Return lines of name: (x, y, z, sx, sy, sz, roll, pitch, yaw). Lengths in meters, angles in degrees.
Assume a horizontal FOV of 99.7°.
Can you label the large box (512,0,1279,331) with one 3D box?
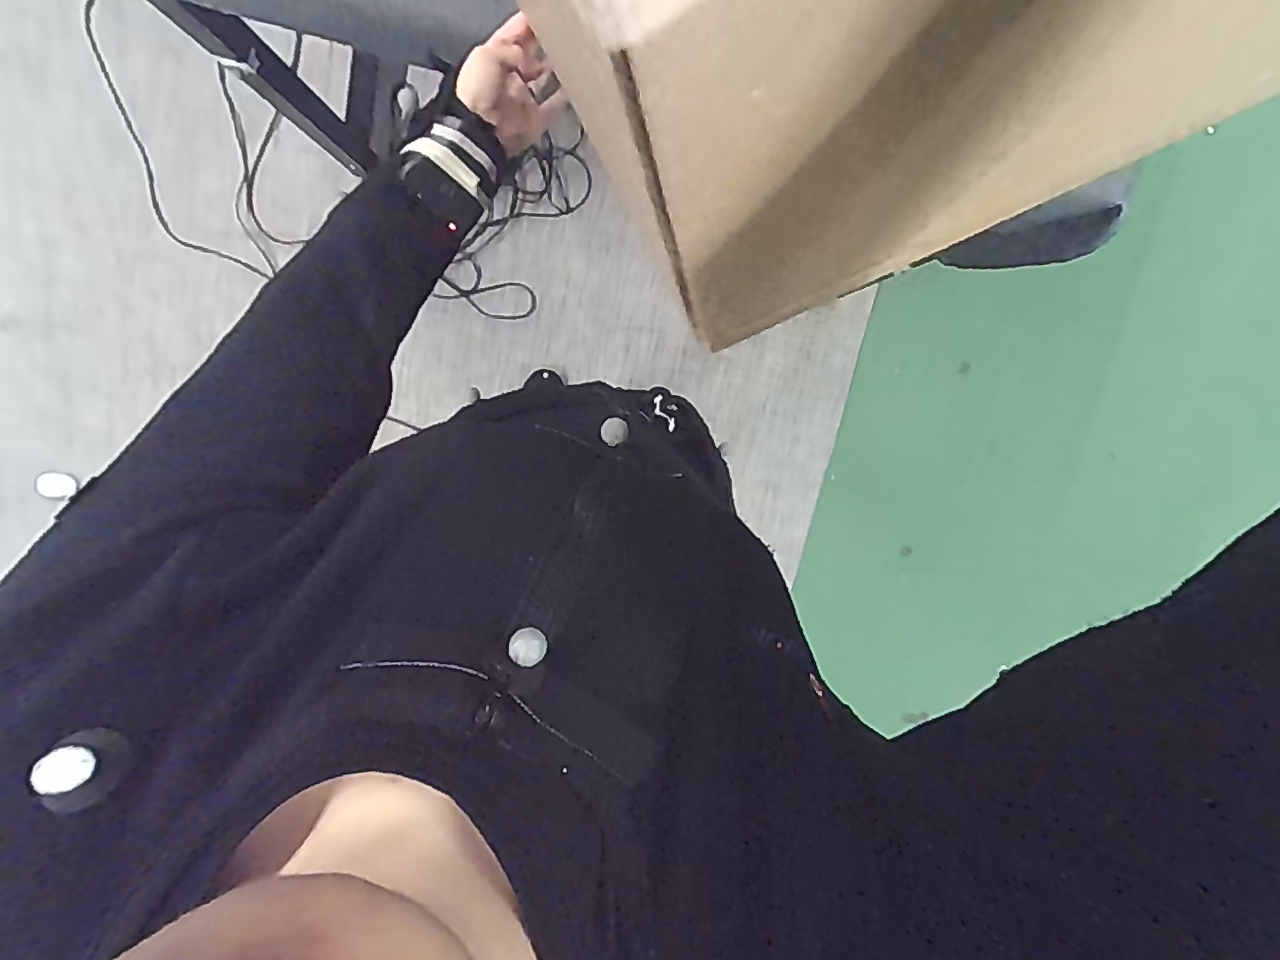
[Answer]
large box: (0.066, -0.351, 0.221, 0.320, 0.320, 0.408, -26, 63, 4)
